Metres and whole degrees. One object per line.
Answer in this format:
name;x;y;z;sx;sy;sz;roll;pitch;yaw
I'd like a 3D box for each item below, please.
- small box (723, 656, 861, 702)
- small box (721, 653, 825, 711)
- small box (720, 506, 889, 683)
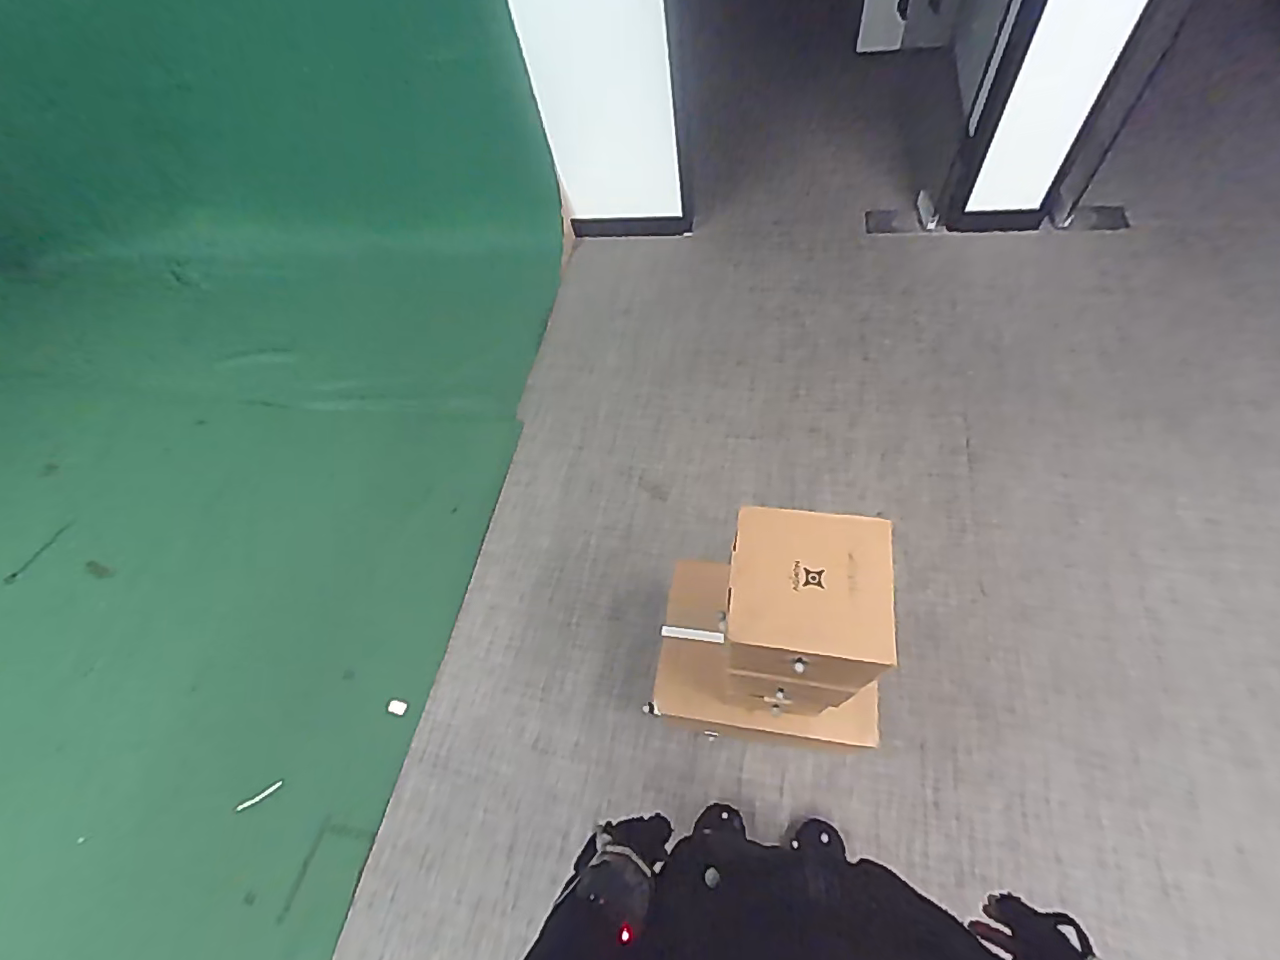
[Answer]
small box;0.219;0.231;0.811;0.179;0.176;0.168;3;62;10
small box;0.235;0.303;0.958;0.168;0.176;0.179;3;62;12
small box;0.197;0.148;0.674;0.179;0.176;0.168;6;63;12
